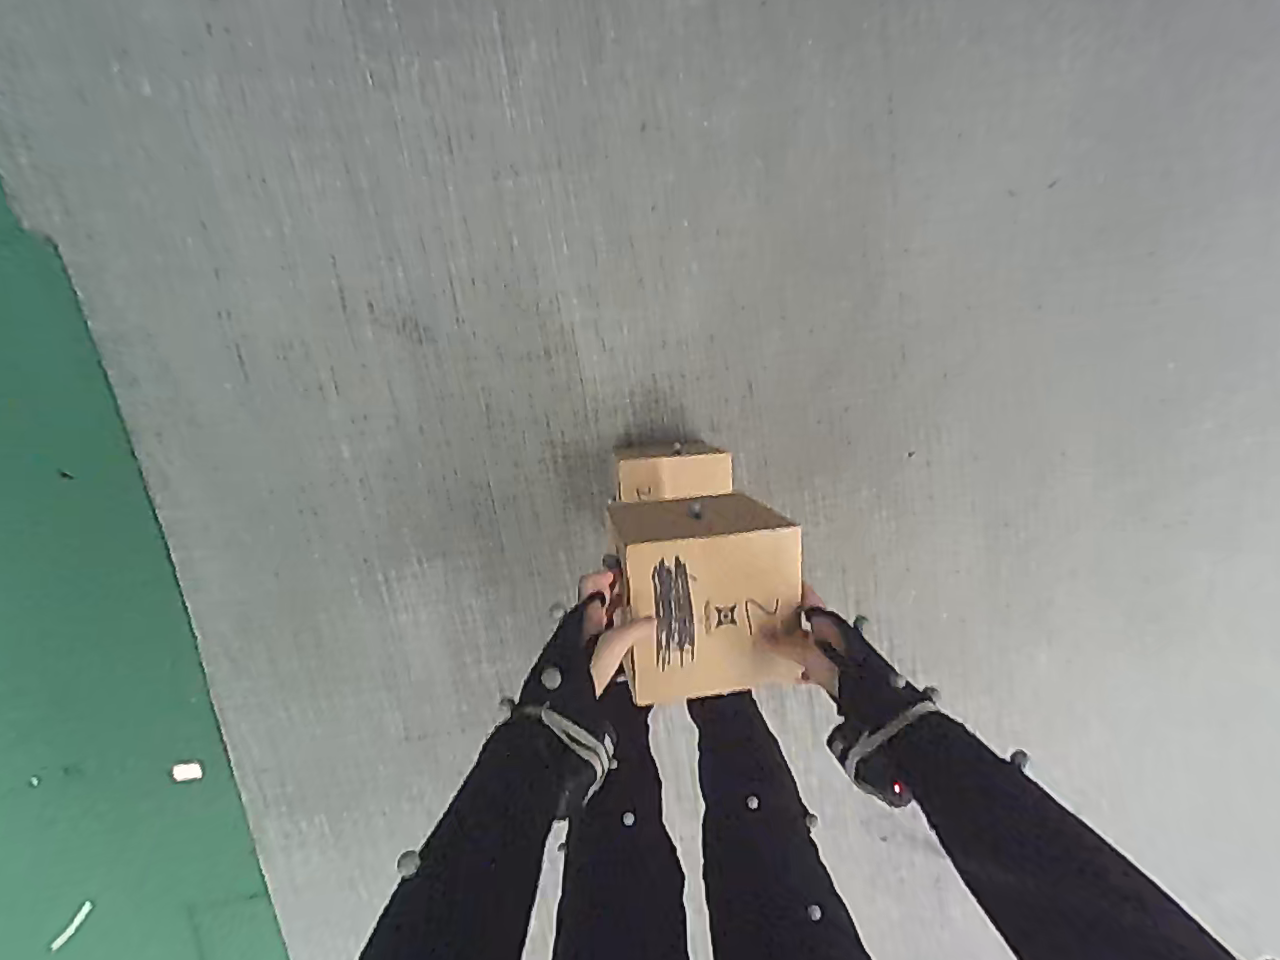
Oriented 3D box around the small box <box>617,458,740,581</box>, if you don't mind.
[{"bbox_3d":[0.058,0.057,0.898,0.179,0.176,0.168,-4,99,-5],"label":"small box"}]
